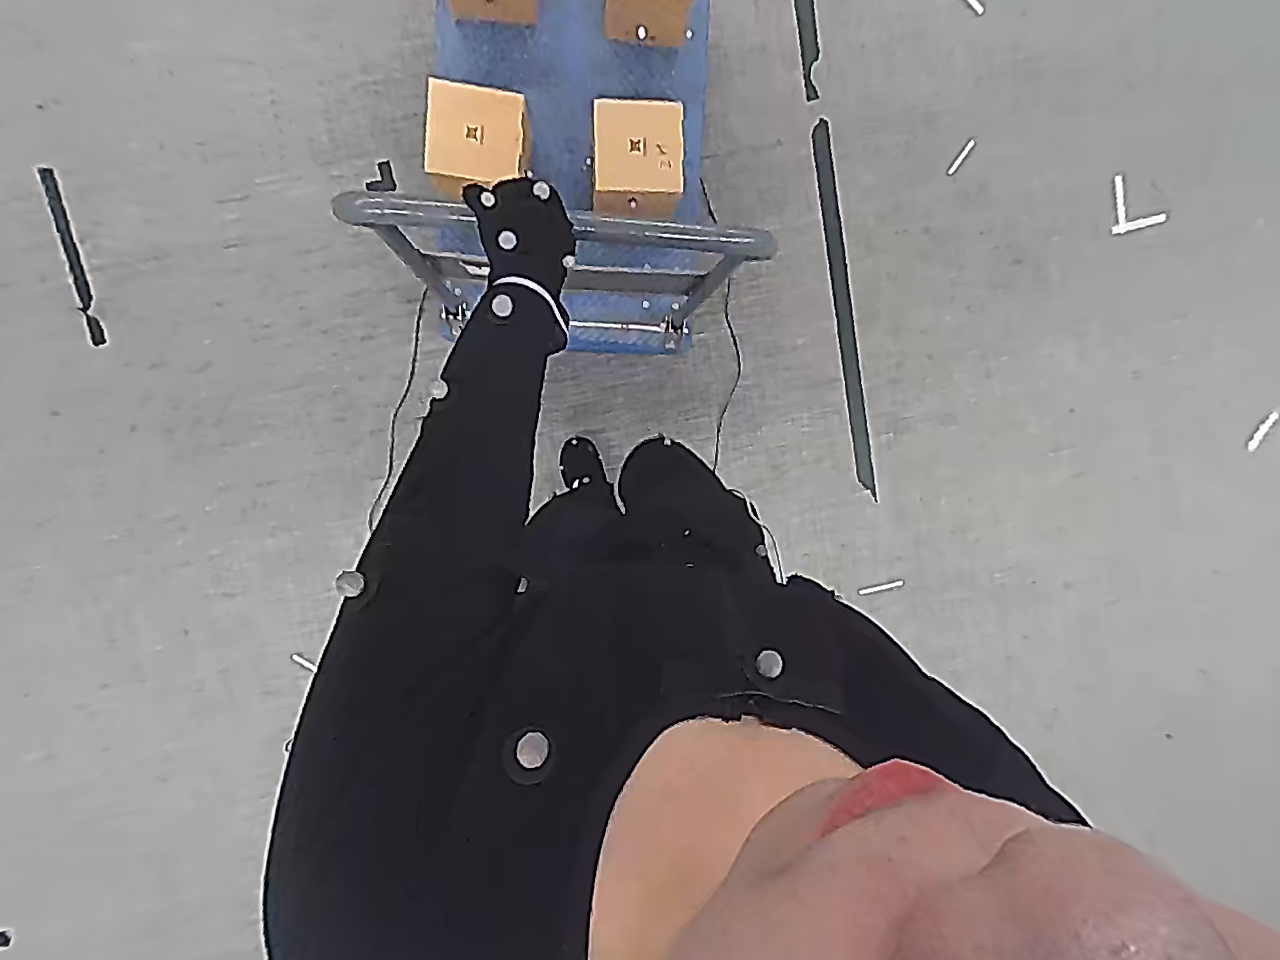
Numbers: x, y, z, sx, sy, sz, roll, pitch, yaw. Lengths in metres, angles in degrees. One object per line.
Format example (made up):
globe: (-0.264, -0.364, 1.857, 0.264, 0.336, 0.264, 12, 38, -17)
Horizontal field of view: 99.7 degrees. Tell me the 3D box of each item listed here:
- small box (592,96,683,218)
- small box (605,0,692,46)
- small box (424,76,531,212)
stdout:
small box: (-0.011, -0.658, 1.121, 0.179, 0.176, 0.168, -1, 98, -7)
small box: (0.020, -1.022, 1.075, 0.168, 0.176, 0.179, 3, 99, -7)
small box: (-0.318, -0.660, 1.084, 0.179, 0.176, 0.168, 4, 97, -9)
